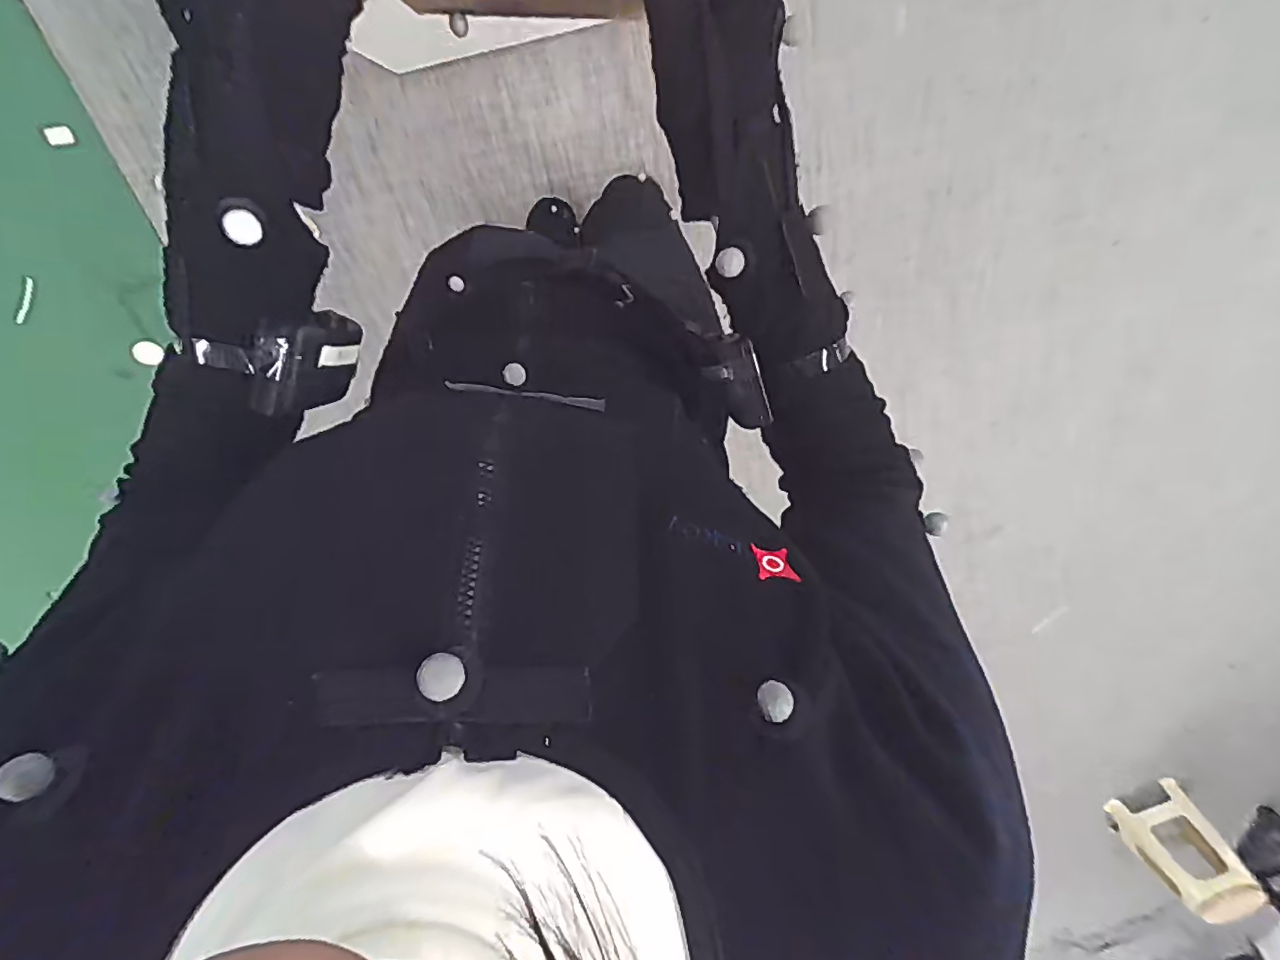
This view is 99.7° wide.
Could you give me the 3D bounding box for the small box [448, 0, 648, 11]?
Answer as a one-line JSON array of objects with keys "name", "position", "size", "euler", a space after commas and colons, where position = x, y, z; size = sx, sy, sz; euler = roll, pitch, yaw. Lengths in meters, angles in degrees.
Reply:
[{"name": "small box", "position": [-0.063, -0.360, 0.267], "size": [0.168, 0.176, 0.179], "euler": [-4, 122, -6]}]
